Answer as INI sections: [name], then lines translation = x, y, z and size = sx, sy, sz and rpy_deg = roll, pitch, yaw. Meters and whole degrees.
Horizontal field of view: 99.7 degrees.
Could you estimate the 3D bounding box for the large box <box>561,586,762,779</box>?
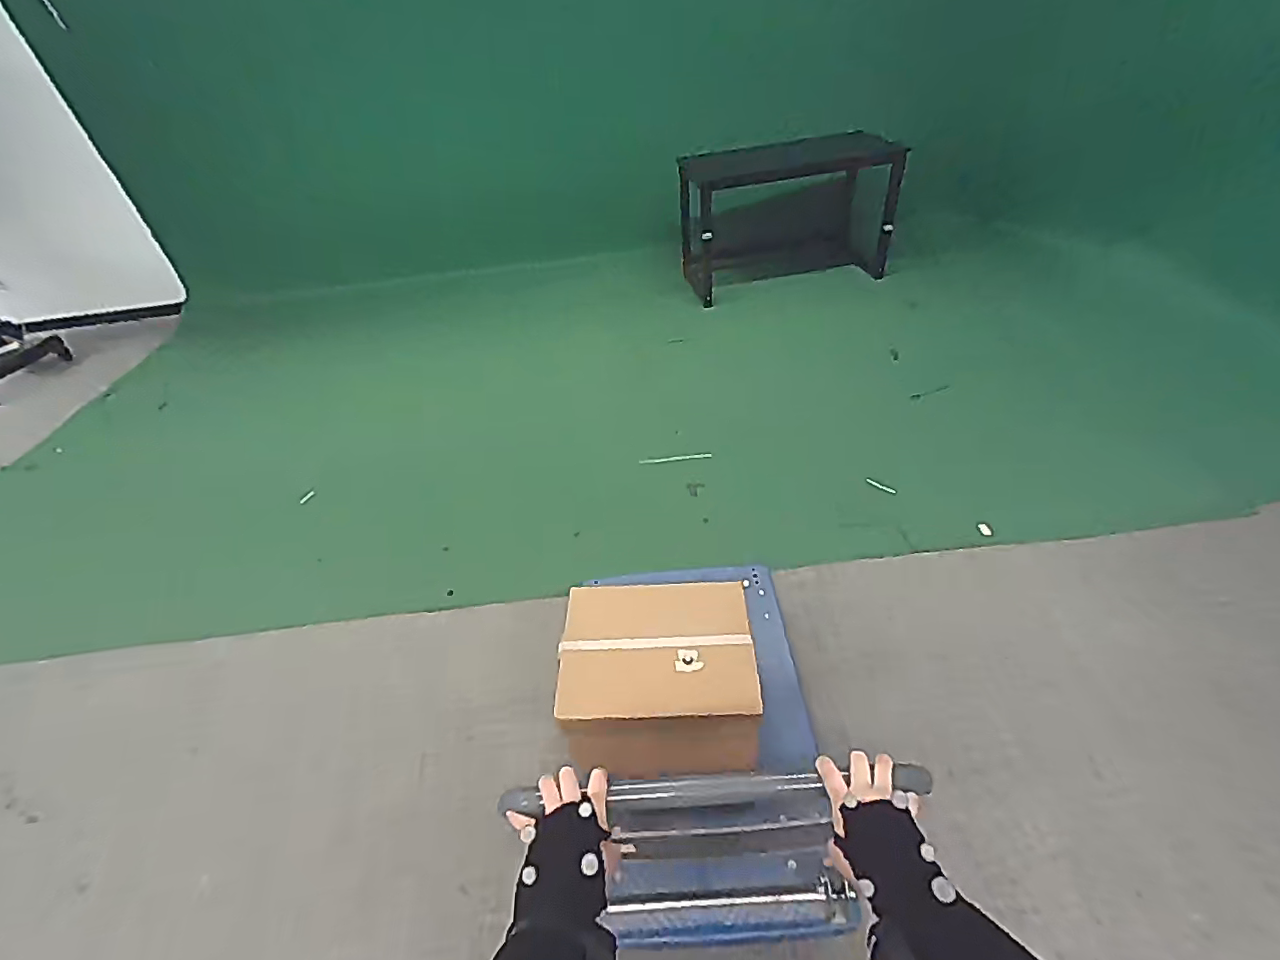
[large box]
translation = 0.049, 0.472, 1.262
size = 0.408, 0.320, 0.320
rpy_deg = -3, 41, 3
